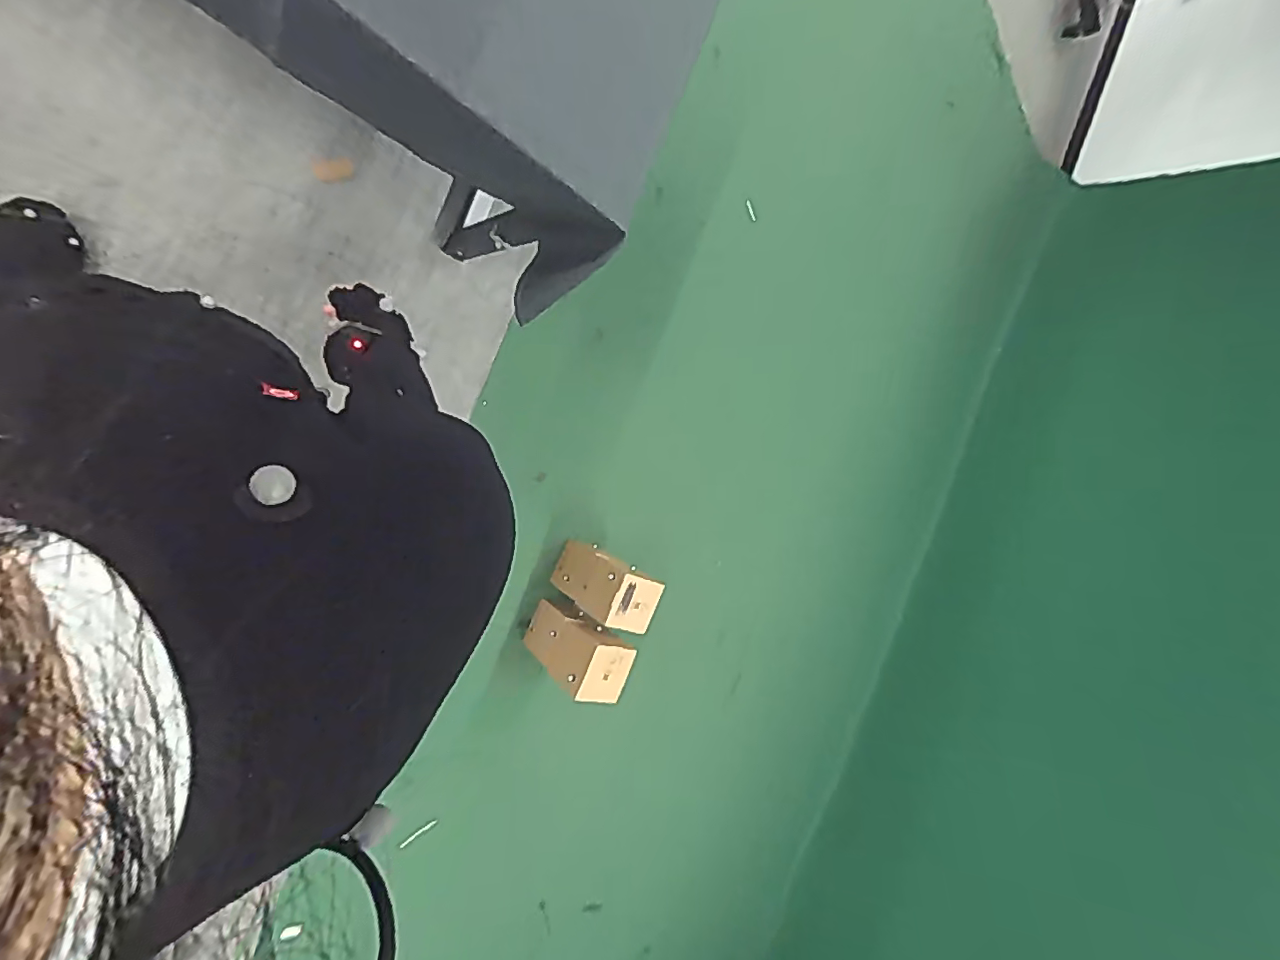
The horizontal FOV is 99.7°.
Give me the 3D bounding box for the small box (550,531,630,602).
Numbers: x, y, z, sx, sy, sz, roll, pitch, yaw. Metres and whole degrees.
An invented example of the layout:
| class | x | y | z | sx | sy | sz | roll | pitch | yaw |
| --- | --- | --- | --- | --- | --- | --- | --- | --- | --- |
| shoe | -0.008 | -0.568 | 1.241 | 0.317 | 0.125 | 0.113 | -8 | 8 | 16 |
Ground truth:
| class | x | y | z | sx | sy | sz | roll | pitch | yaw |
| --- | --- | --- | --- | --- | --- | --- | --- | --- | --- |
| small box | -0.172 | 0.285 | 1.806 | 0.179 | 0.176 | 0.168 | 29 | 85 | -40 |
